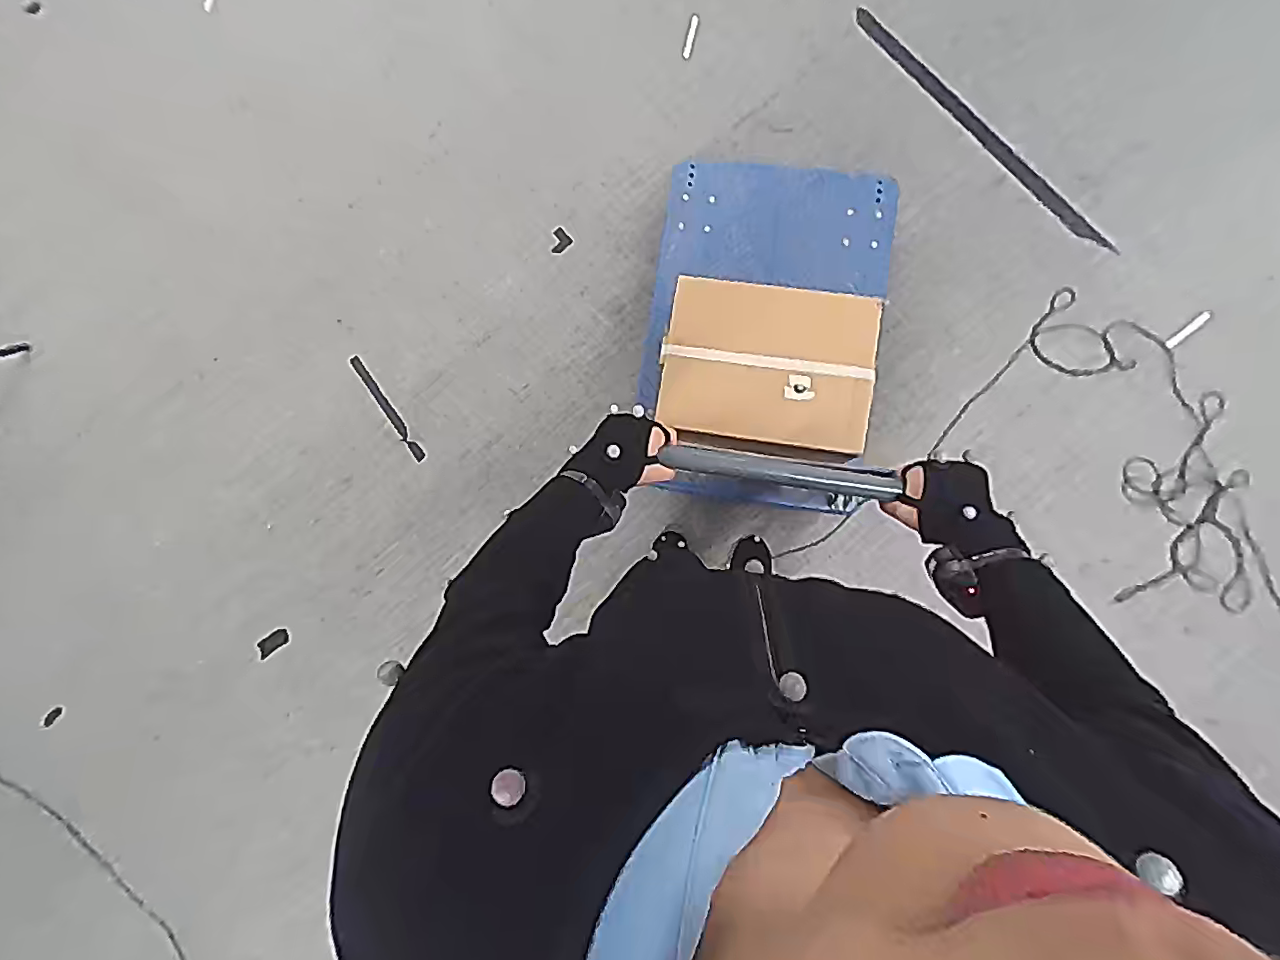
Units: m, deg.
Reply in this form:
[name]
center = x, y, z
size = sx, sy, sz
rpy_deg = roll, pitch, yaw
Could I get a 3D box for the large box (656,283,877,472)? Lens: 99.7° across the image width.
[large box]
center = 0.257, -0.208, 1.210
size = 0.408, 0.320, 0.320
rpy_deg = 9, 86, 5
